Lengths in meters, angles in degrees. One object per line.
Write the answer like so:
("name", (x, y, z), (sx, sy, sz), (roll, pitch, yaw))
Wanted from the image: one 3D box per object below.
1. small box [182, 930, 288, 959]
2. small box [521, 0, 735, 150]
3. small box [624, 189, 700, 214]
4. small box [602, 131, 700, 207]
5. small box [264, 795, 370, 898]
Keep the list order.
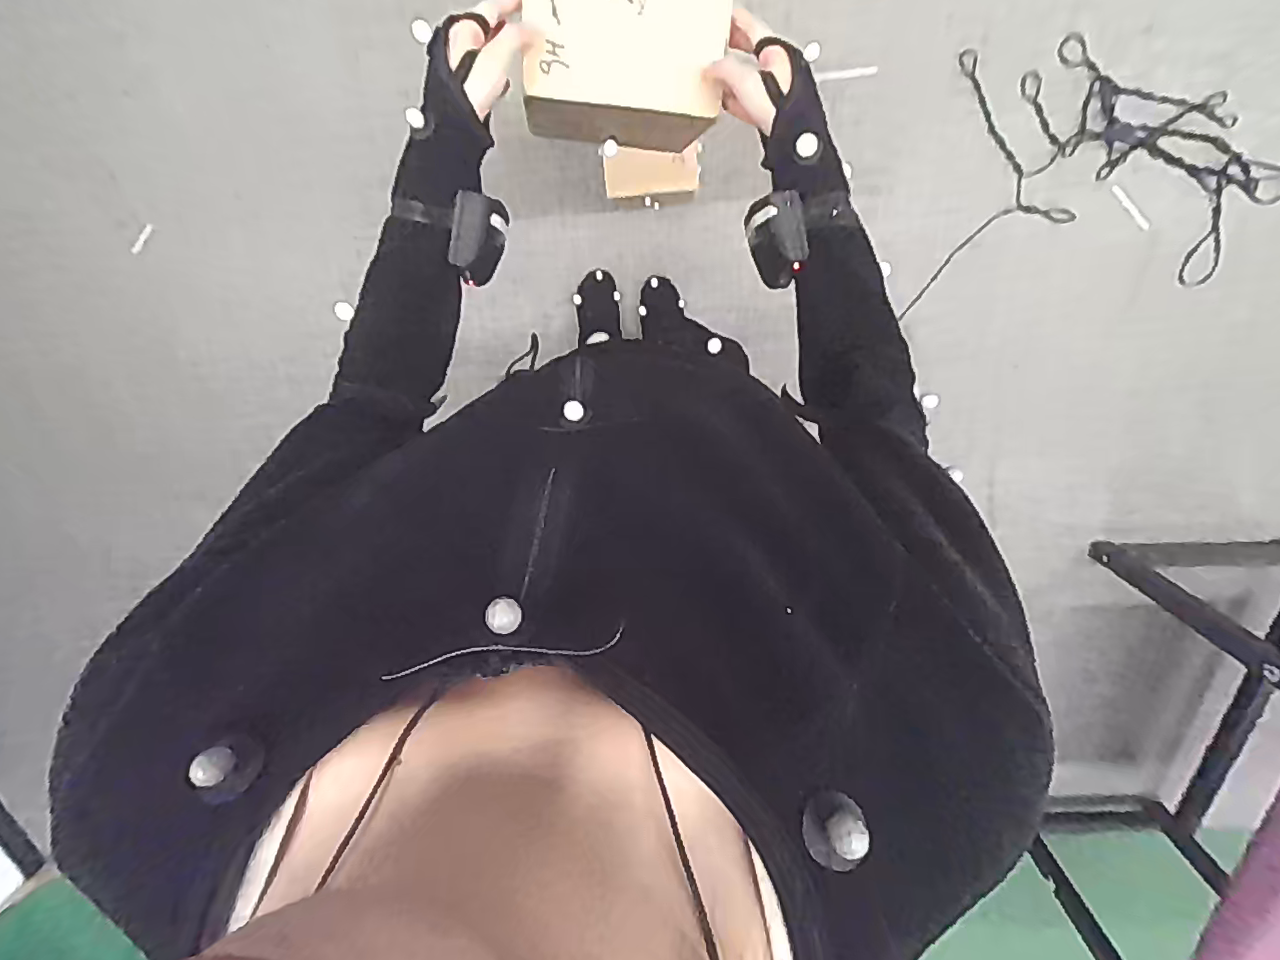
("small box", (-0.885, 1.092, 1.142), (0.179, 0.176, 0.168), (-3, 112, 3))
("small box", (-0.020, -0.424, 0.505), (0.179, 0.176, 0.168), (1, 110, -10))
("small box", (0.039, -0.692, 1.195), (0.179, 0.176, 0.168), (-4, 112, 3))
("small box", (0.023, -0.630, 1.044), (0.179, 0.176, 0.168), (-4, 113, 3))
("small box", (-0.853, 0.975, 1.445), (0.168, 0.176, 0.179), (-1, 112, 2))
